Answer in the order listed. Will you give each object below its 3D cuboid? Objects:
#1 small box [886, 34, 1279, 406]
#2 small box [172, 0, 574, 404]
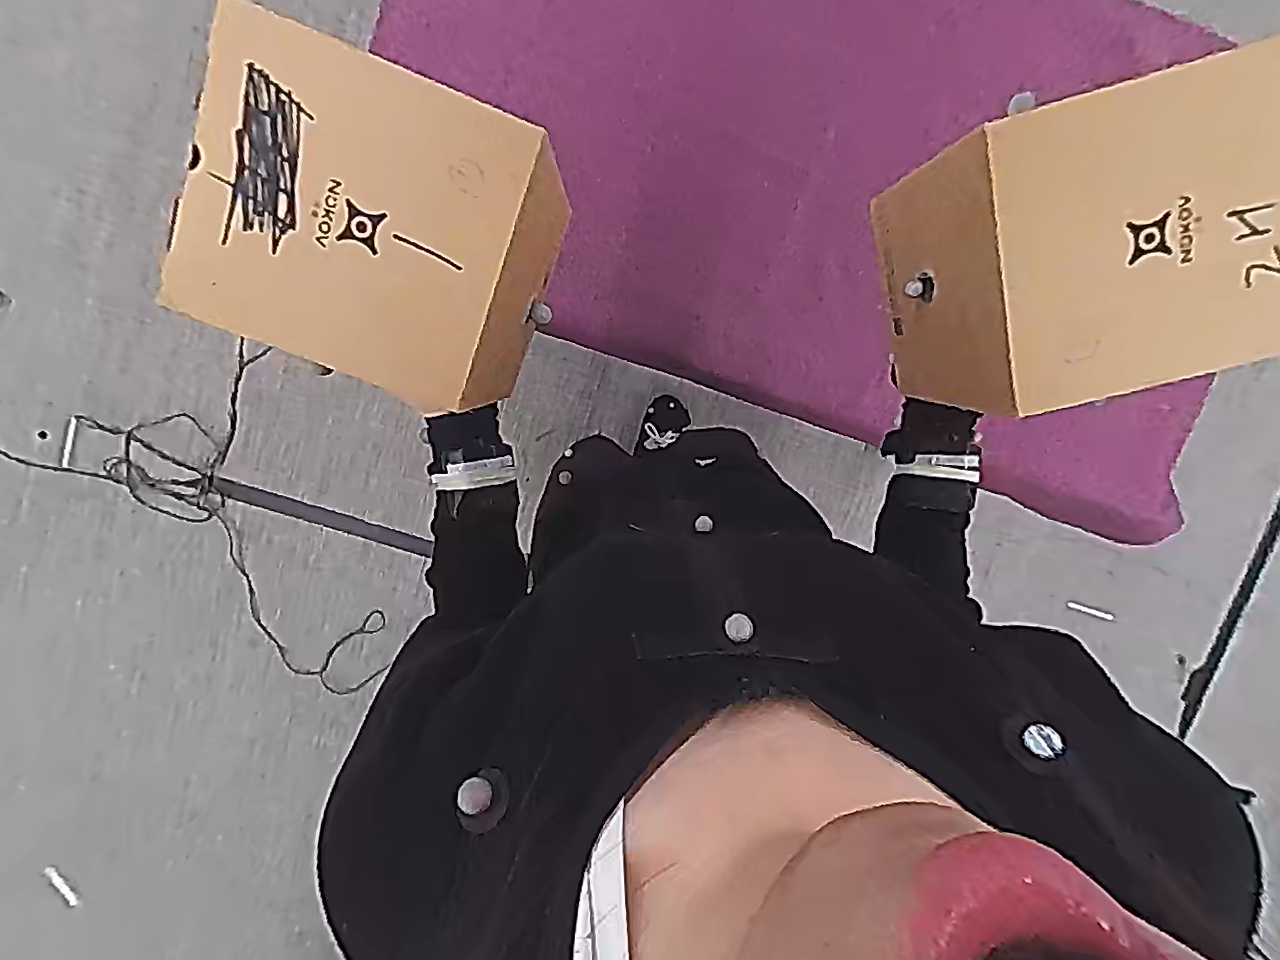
[{"bbox_3d":[0.292,-0.157,0.379,0.179,0.176,0.168,-14,104,5],"label":"small box"},{"bbox_3d":[-0.157,-0.162,0.376,0.179,0.176,0.168,20,101,-7],"label":"small box"}]
